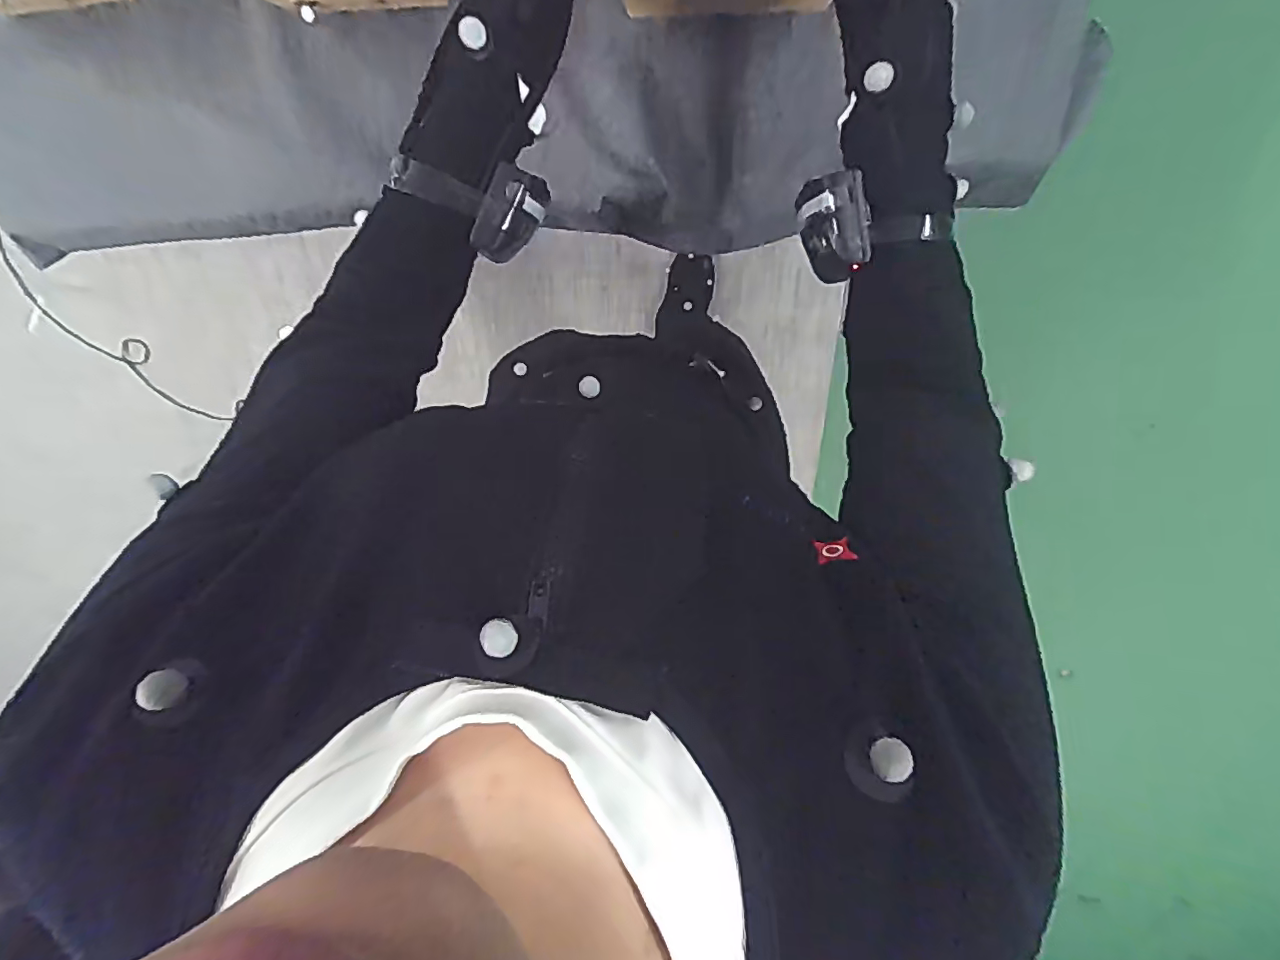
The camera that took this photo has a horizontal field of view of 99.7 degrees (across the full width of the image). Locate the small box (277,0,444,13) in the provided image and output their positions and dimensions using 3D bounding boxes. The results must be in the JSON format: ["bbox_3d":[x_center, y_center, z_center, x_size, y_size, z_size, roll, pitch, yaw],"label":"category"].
[{"bbox_3d":[-0.276,-0.508,0.434,0.168,0.176,0.179,2,116,7],"label":"small box"}]
